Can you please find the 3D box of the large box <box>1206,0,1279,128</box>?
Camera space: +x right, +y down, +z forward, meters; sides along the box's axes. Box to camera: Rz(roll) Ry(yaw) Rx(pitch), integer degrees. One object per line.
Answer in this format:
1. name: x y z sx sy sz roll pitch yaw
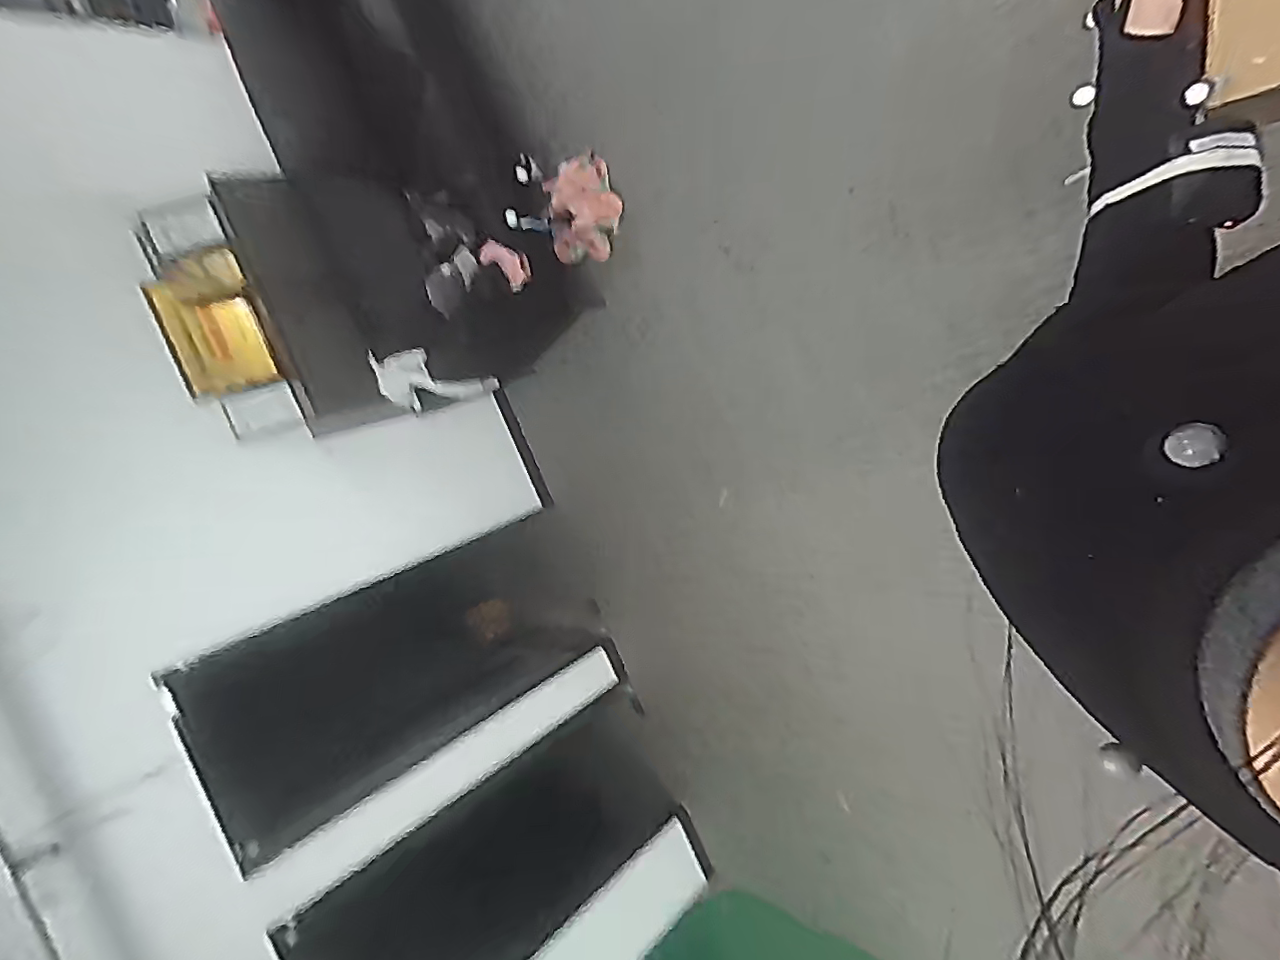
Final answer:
1. large box: 0.624 -0.450 0.299 0.408 0.320 0.320 6 114 48
